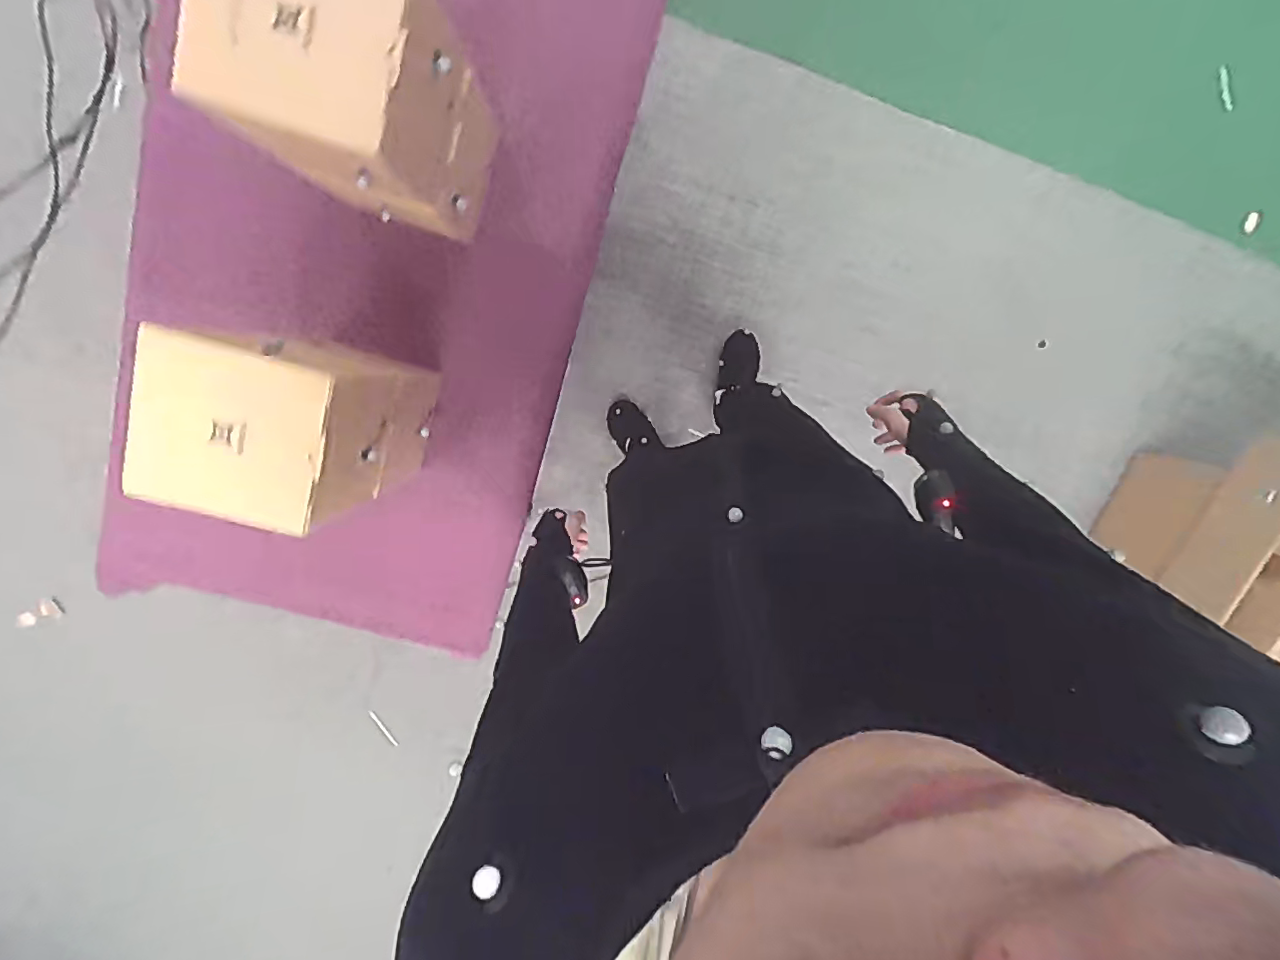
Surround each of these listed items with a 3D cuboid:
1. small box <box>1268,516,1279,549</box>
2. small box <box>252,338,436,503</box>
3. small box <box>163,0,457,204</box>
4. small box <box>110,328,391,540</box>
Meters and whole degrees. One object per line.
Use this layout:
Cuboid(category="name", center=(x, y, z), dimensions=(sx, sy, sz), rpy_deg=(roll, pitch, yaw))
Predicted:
Cuboid(category="small box", center=(1.736, 0.125, 1.327), dimensions=(0.168, 0.176, 0.179), rpy_deg=(24, 98, -9))
Cuboid(category="small box", center=(-0.408, -0.085, 0.744), dimensions=(0.179, 0.176, 0.168), rpy_deg=(16, 101, -7))
Cuboid(category="small box", center=(-0.295, -0.391, 0.521), dimensions=(0.179, 0.176, 0.168), rpy_deg=(16, 100, -6))
Cuboid(category="small box", center=(-0.400, -0.053, 0.585), dimensions=(0.179, 0.176, 0.168), rpy_deg=(15, 100, -7))
